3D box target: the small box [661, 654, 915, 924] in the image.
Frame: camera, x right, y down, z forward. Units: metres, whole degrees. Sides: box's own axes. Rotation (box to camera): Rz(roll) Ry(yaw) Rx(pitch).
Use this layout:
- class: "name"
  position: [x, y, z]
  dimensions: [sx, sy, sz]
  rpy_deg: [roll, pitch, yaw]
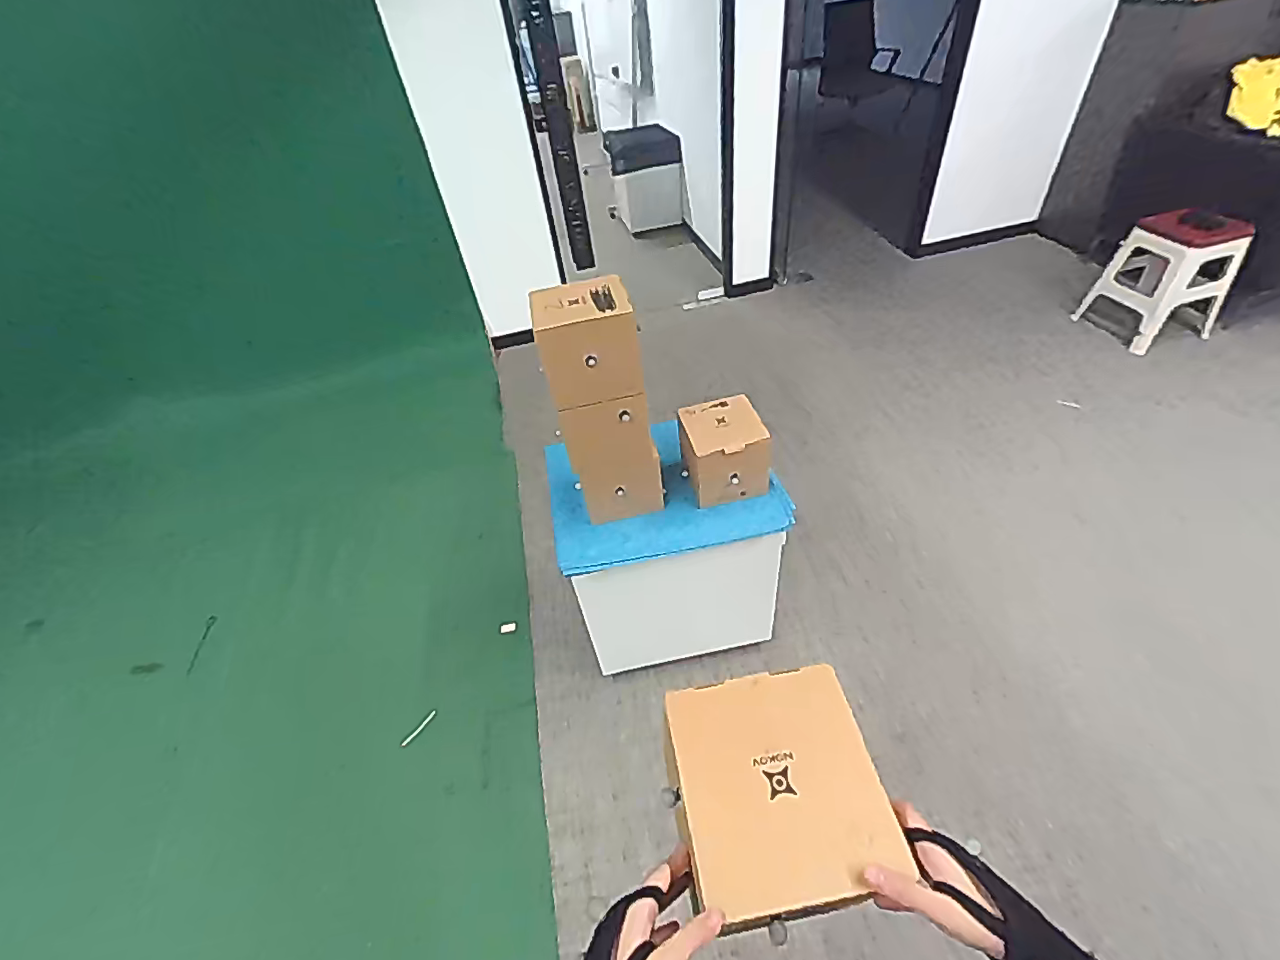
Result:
- class: "small box"
  position: [0.117, 0.293, 0.509]
  dimensions: [0.168, 0.176, 0.179]
  rpy_deg: [-8, 46, -5]

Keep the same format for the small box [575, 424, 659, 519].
- class: "small box"
  position: [-0.056, -0.036, 1.236]
  dimensions: [0.179, 0.176, 0.168]
  rpy_deg: [-12, 43, -4]

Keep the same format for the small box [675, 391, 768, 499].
- class: "small box"
  position: [0.184, -0.074, 1.239]
  dimensions: [0.168, 0.176, 0.179]
  rpy_deg: [-12, 44, -4]

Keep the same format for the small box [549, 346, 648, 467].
- class: "small box"
  position: [-0.082, -0.151, 1.121]
  dimensions: [0.179, 0.176, 0.168]
  rpy_deg: [-12, 43, -4]
